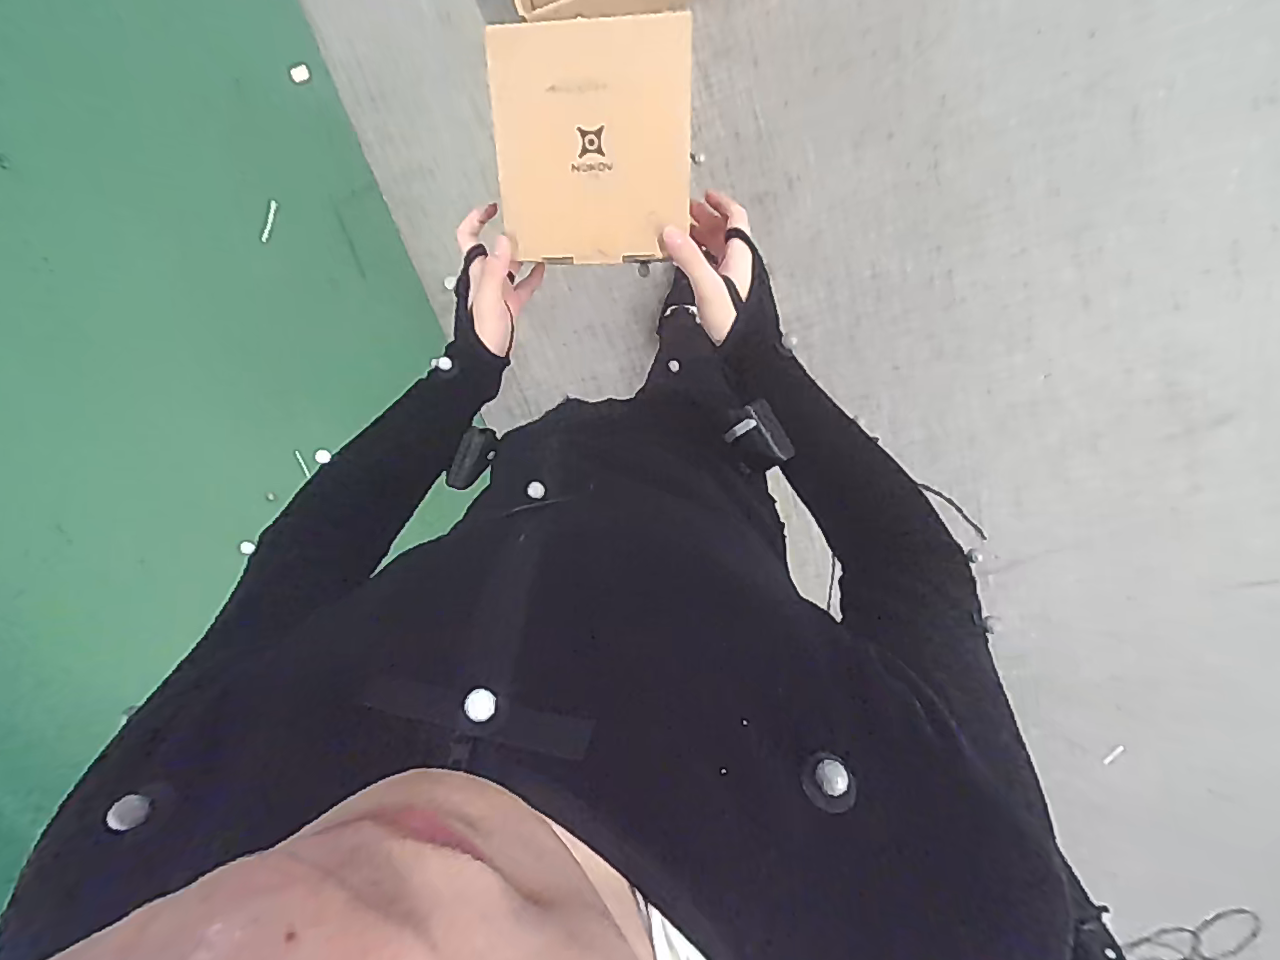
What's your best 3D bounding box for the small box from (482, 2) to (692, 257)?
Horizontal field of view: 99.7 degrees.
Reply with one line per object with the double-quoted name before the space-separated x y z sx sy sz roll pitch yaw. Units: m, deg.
"small box" -0.034 -0.311 0.521 0.168 0.176 0.179 0 110 5
